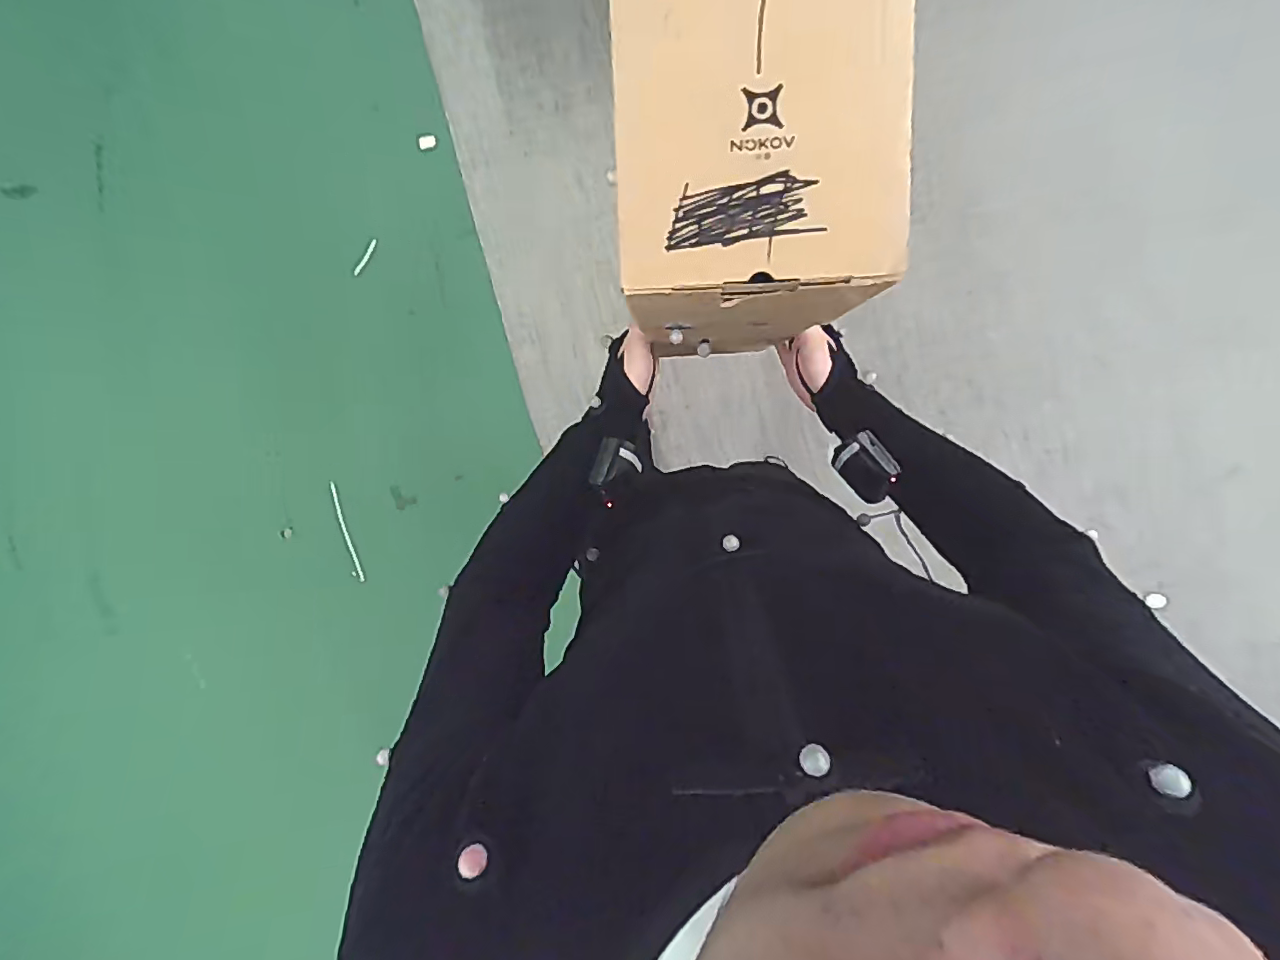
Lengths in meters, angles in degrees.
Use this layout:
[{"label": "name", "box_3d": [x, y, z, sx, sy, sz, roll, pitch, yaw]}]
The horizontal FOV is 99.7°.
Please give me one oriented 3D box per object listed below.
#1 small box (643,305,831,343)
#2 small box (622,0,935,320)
[{"label": "small box", "box_3d": [0.086, -0.235, 0.535, 0.168, 0.176, 0.179, 0, 98, 3]}, {"label": "small box", "box_3d": [0.078, -0.209, 0.373, 0.168, 0.176, 0.179, -1, 97, 4]}]
